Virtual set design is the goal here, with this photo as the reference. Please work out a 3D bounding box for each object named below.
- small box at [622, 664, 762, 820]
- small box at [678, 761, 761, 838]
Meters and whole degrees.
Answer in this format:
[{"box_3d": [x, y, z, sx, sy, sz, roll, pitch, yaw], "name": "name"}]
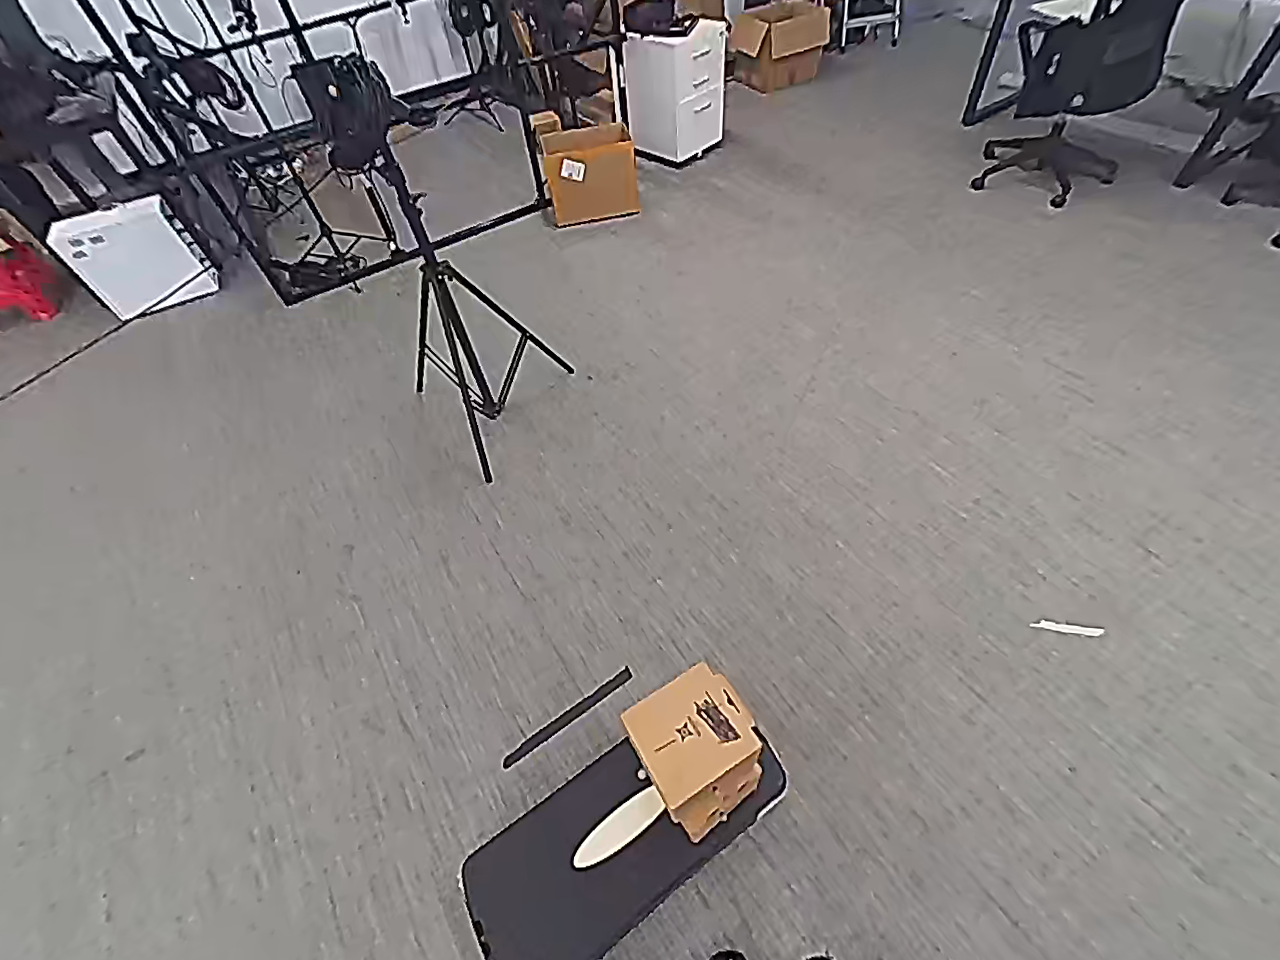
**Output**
[{"box_3d": [0.087, 0.459, 0.944, 0.179, 0.176, 0.168, -28, 54, -14], "name": "small box"}, {"box_3d": [0.112, 0.567, 1.065, 0.168, 0.176, 0.179, -32, 56, -18], "name": "small box"}]
